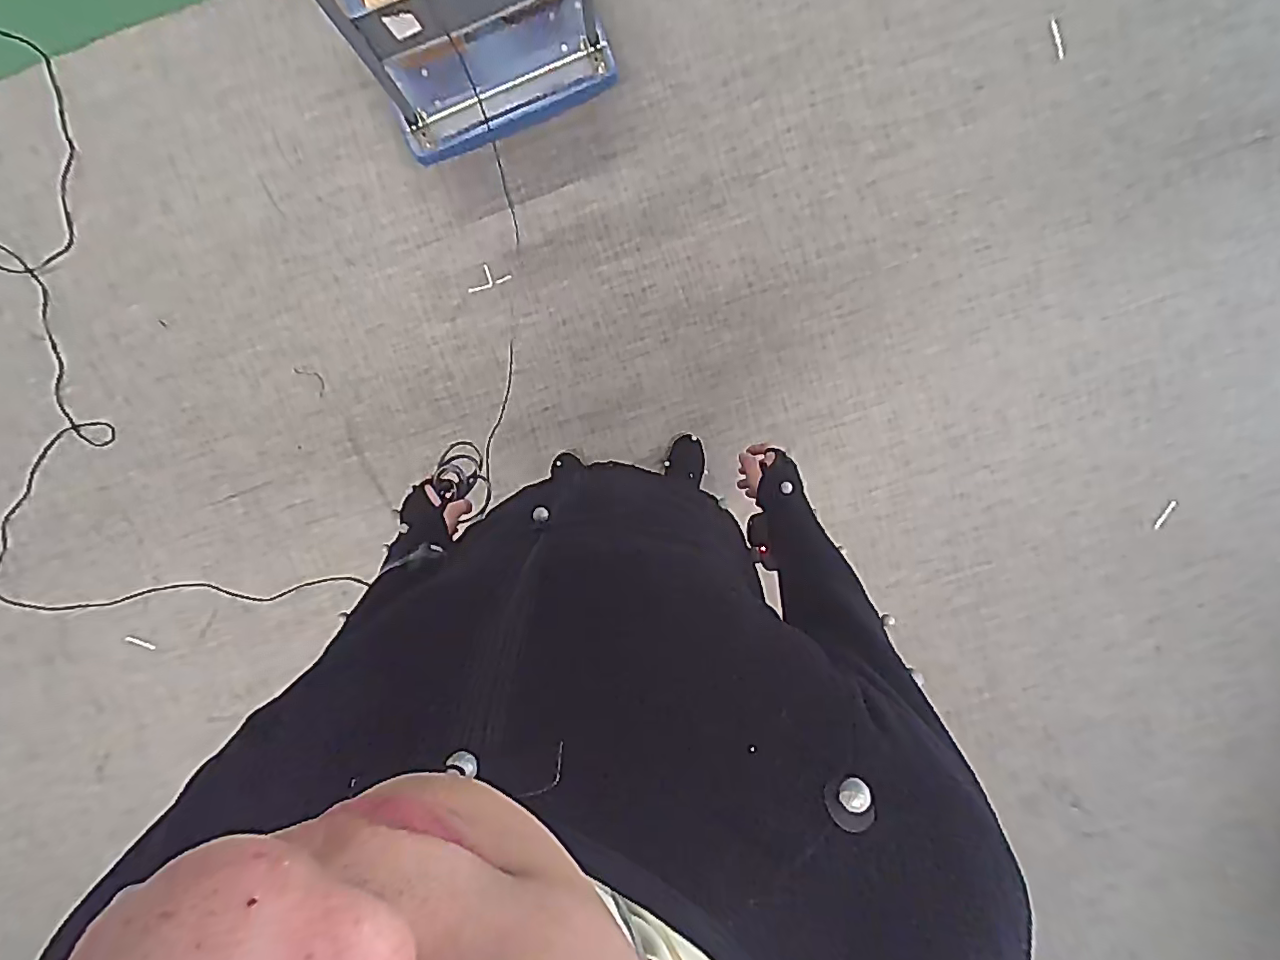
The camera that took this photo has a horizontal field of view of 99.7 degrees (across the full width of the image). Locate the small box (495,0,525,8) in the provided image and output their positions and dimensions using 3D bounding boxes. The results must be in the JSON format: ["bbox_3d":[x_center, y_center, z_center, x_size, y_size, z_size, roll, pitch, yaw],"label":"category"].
[{"bbox_3d":[-0.305,-1.265,1.251,0.168,0.176,0.179,-20,96,2],"label":"small box"}]
